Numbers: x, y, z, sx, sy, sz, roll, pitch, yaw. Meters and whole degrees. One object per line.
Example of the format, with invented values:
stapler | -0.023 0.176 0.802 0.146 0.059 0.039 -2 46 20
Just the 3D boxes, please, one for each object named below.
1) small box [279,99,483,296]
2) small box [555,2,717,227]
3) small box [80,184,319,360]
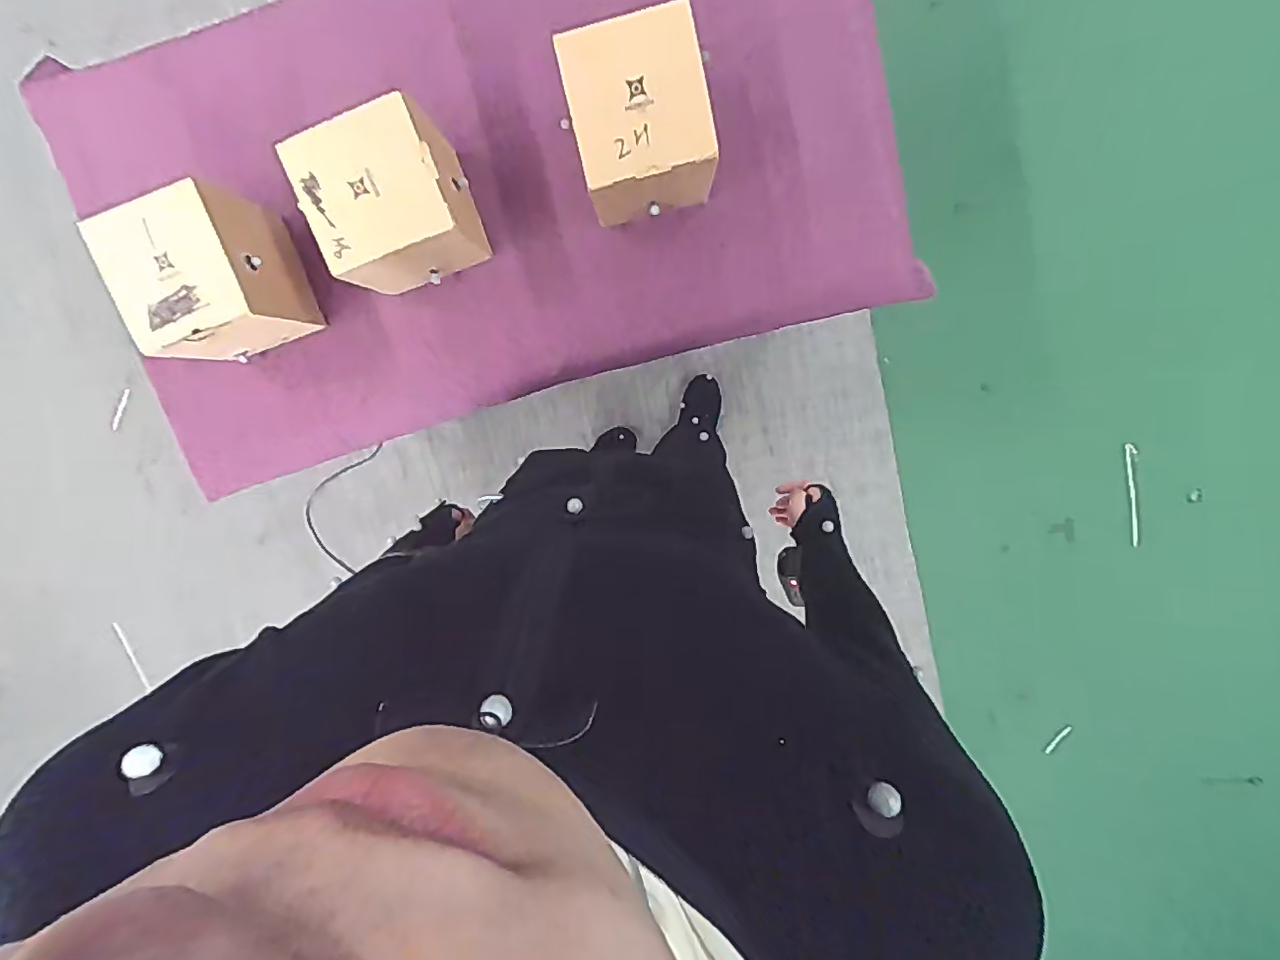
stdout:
small box | -0.335 -0.371 0.746 0.179 0.176 0.168 -19 99 4
small box | -0.003 -0.467 0.721 0.168 0.176 0.179 -13 100 4
small box | -0.601 -0.277 0.767 0.168 0.176 0.179 -19 99 4
